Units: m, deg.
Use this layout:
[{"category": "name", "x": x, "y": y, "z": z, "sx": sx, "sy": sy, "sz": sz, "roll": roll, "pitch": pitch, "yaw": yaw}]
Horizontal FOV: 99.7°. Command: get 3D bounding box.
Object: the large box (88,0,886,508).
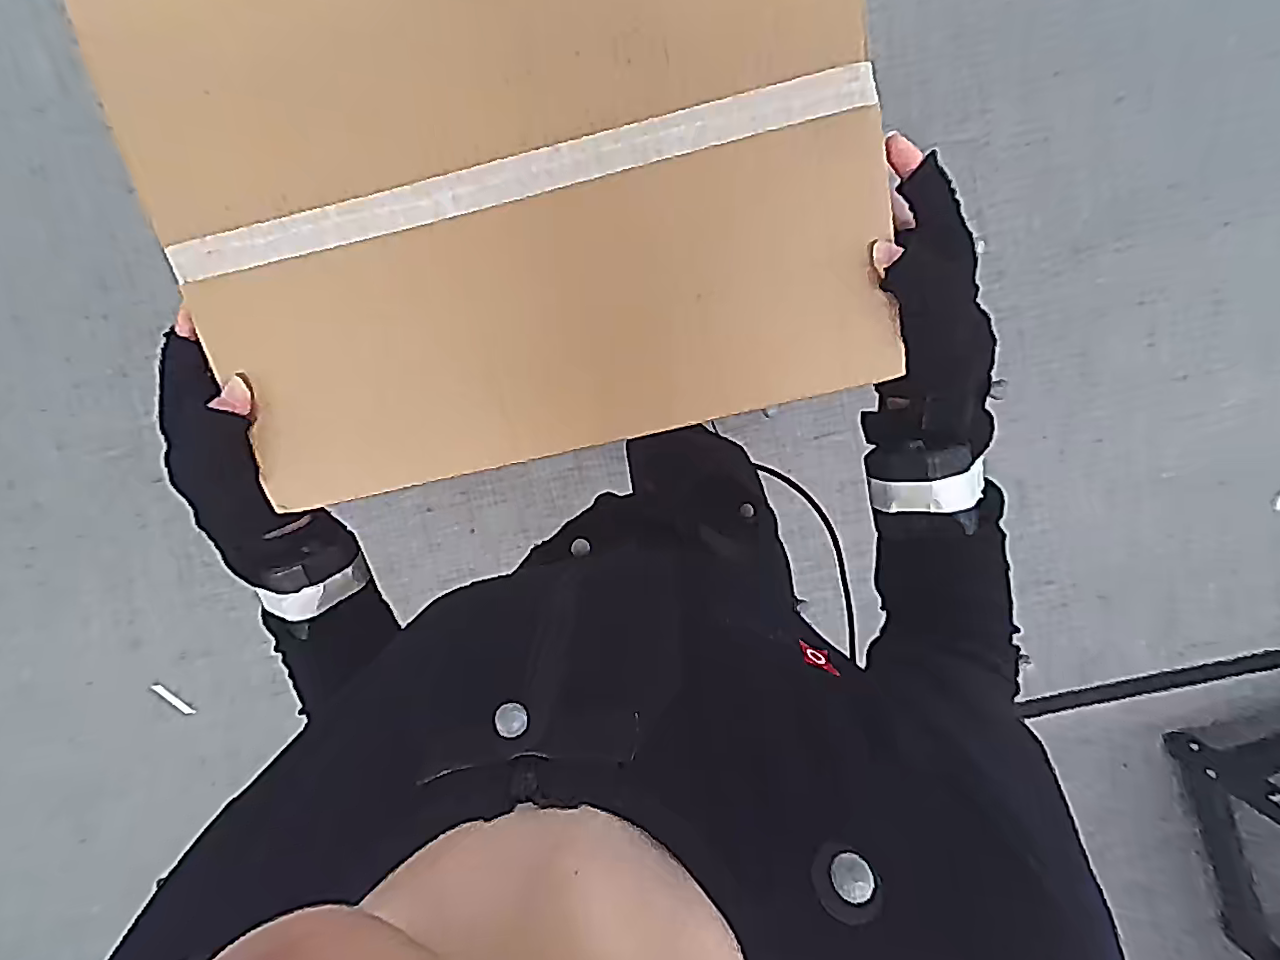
[{"category": "large box", "x": -0.070, "y": -0.206, "z": 0.457, "sx": 0.408, "sy": 0.320, "sz": 0.320, "roll": -13, "pitch": 103, "yaw": 4}]
